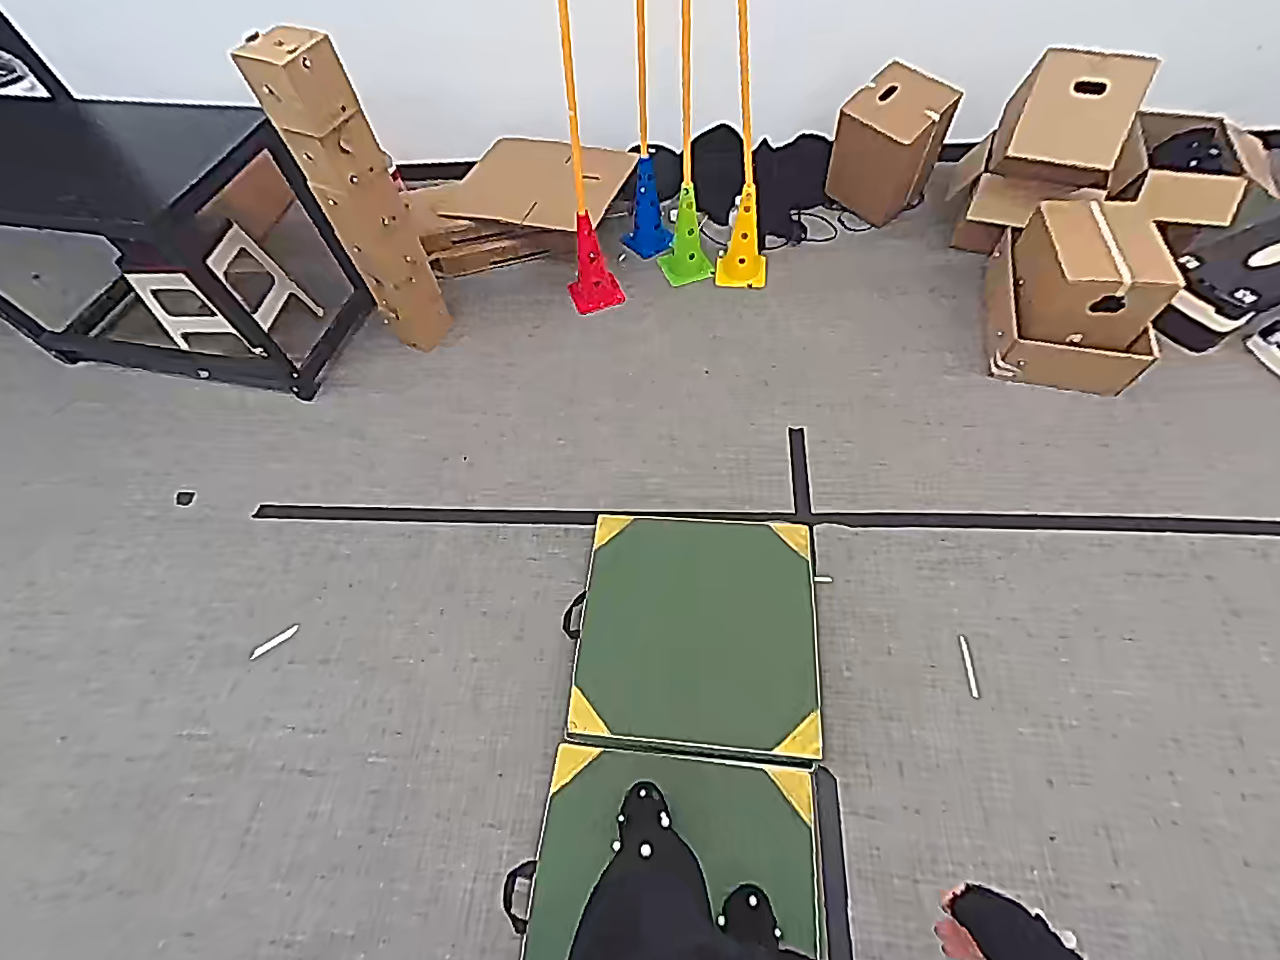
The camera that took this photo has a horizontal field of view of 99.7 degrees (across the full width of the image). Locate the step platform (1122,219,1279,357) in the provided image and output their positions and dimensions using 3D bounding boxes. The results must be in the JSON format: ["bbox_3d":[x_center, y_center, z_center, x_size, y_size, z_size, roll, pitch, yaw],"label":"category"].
[{"bbox_3d":[2.115,-0.688,1.904,0.684,0.204,0.286,-23,60,-9],"label":"step platform"}]
